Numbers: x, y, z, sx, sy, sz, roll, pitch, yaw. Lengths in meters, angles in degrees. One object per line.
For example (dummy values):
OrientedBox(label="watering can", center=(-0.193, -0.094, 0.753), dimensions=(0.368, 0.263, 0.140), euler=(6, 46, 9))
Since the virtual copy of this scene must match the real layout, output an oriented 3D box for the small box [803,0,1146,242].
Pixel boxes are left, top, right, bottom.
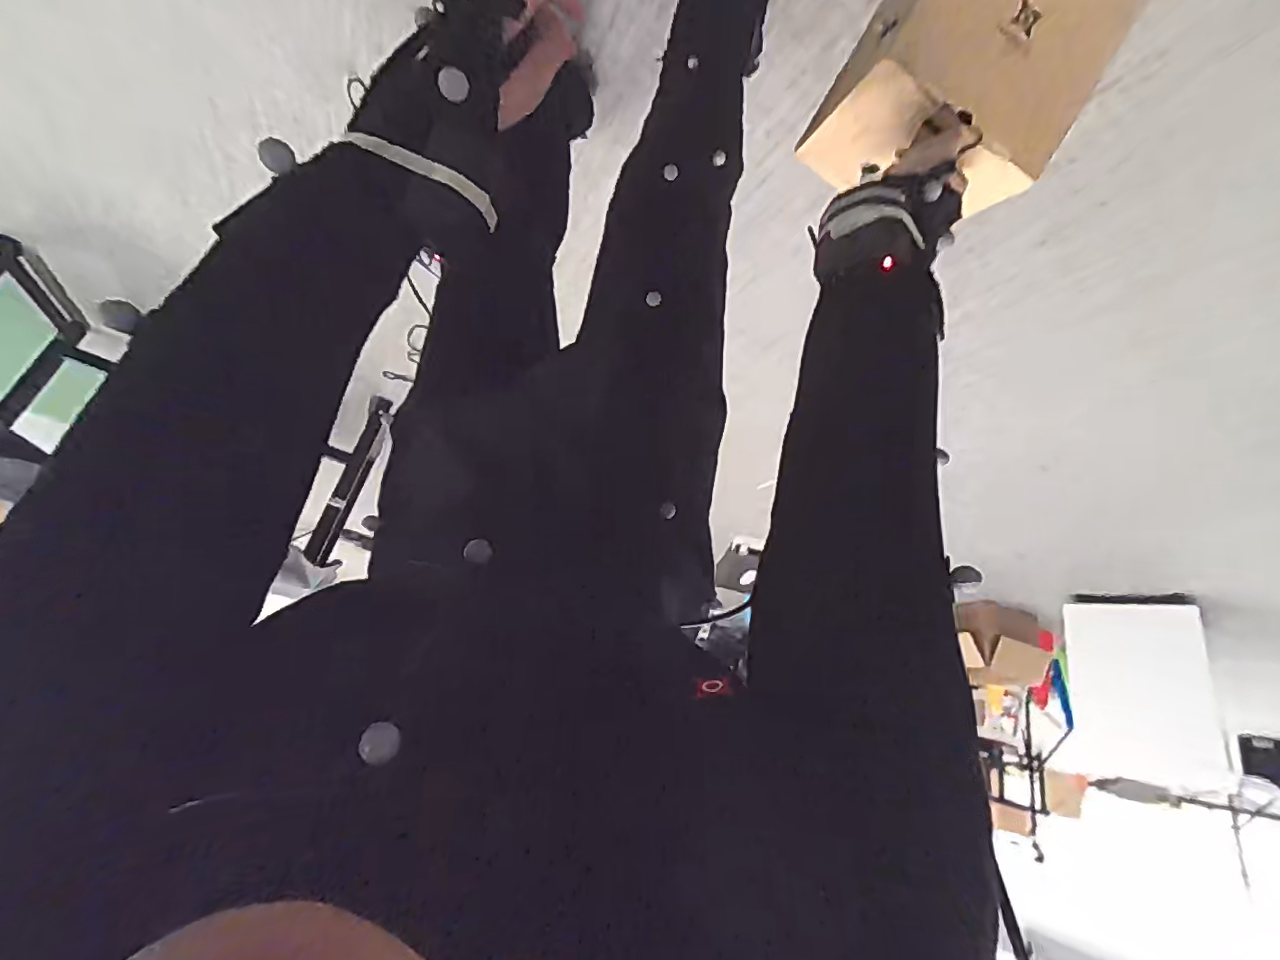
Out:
OrientedBox(label="small box", center=(0.283, -0.357, 0.500), dimensions=(0.168, 0.179, 0.176), euler=(30, -175, -12))
